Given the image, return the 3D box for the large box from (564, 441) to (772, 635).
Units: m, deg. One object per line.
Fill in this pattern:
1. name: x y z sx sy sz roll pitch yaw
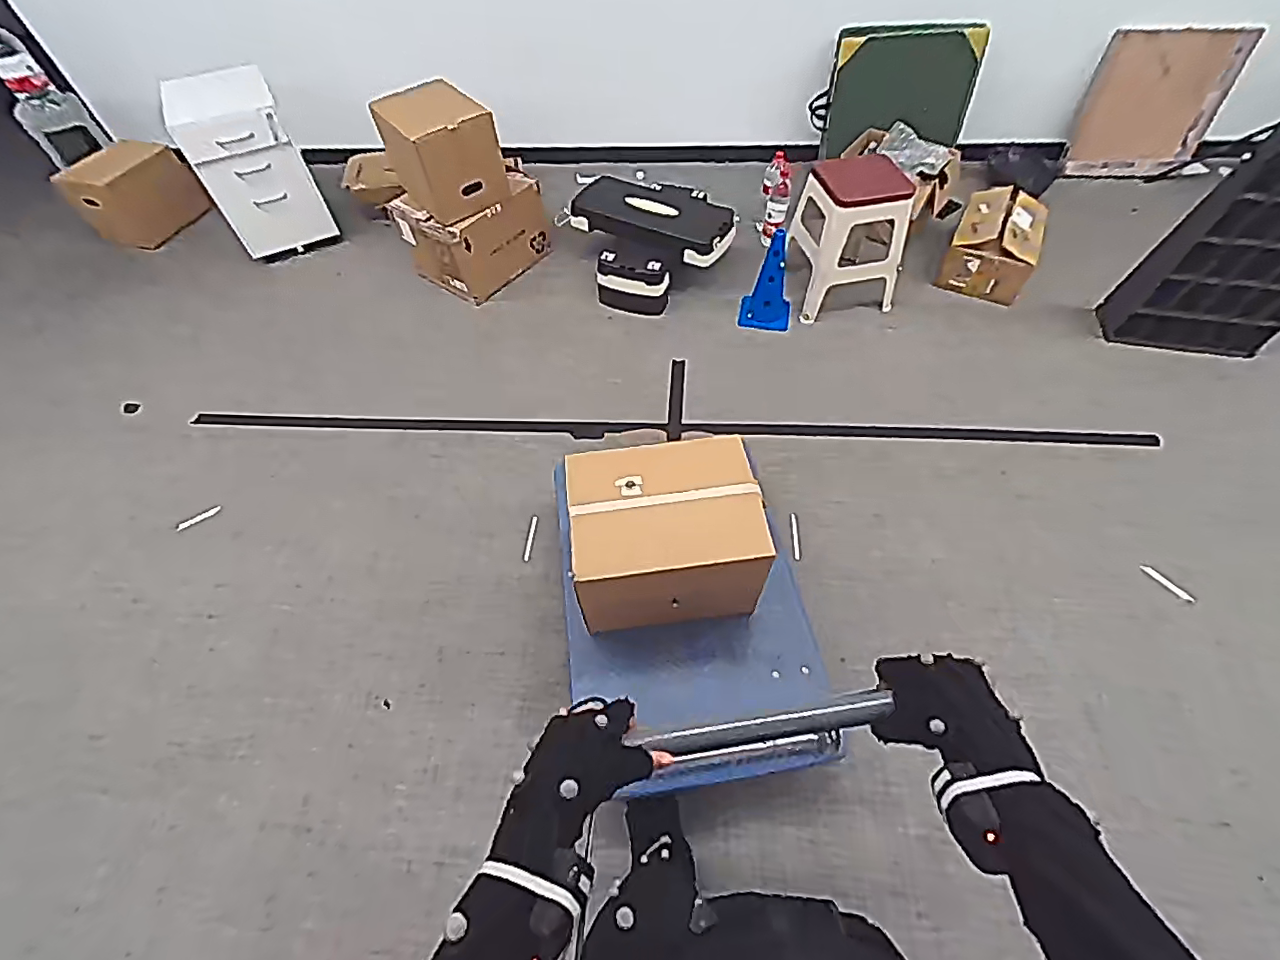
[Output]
1. large box: 0.053 0.144 1.267 0.408 0.320 0.320 -8 56 -2
